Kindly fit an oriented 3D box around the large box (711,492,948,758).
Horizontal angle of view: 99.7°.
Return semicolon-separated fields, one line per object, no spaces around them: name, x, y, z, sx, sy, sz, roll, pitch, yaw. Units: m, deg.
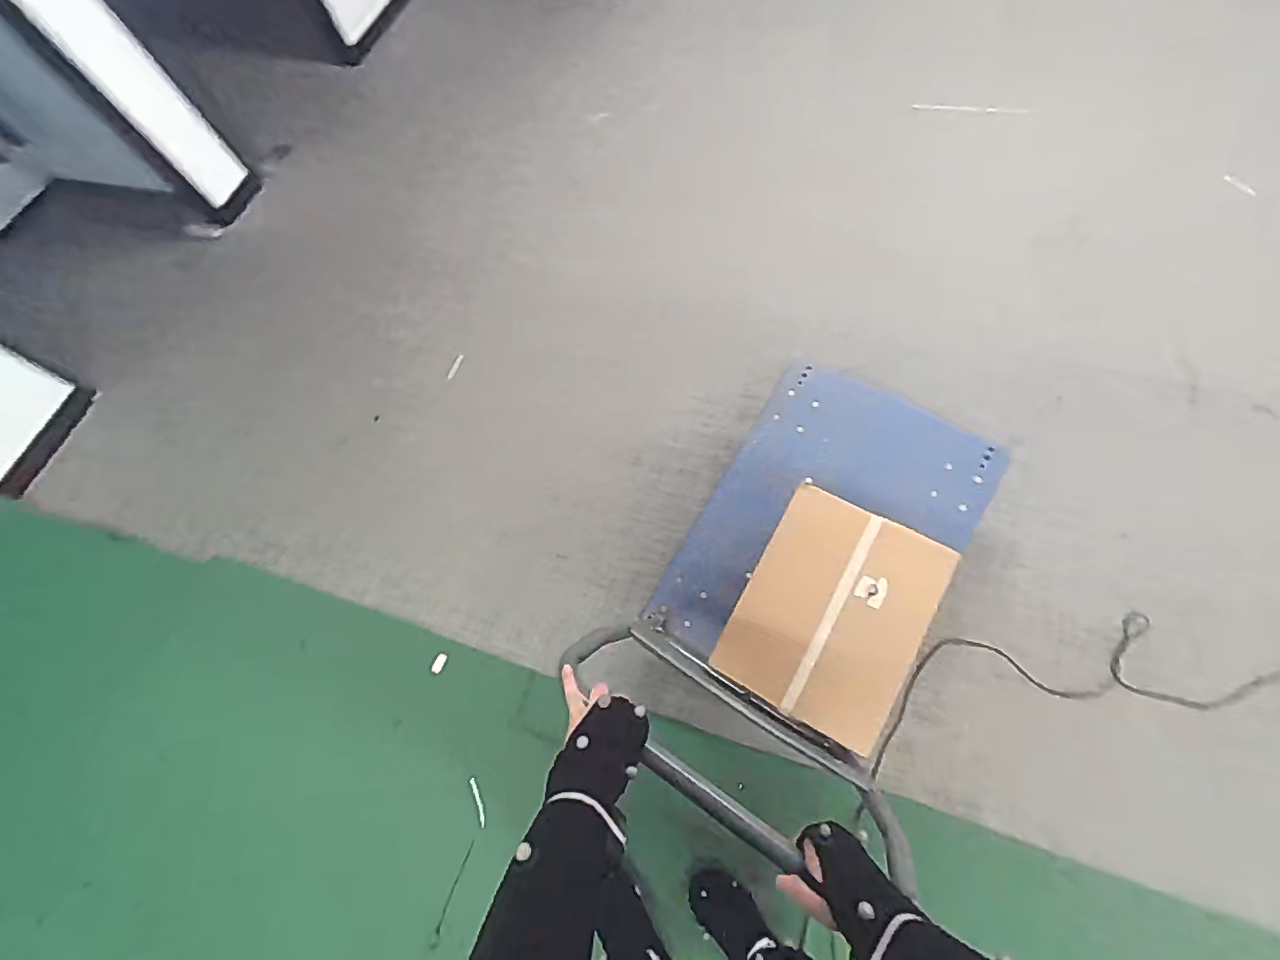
large box;0.383;0.300;1.161;0.320;0.320;0.408;27;80;16
